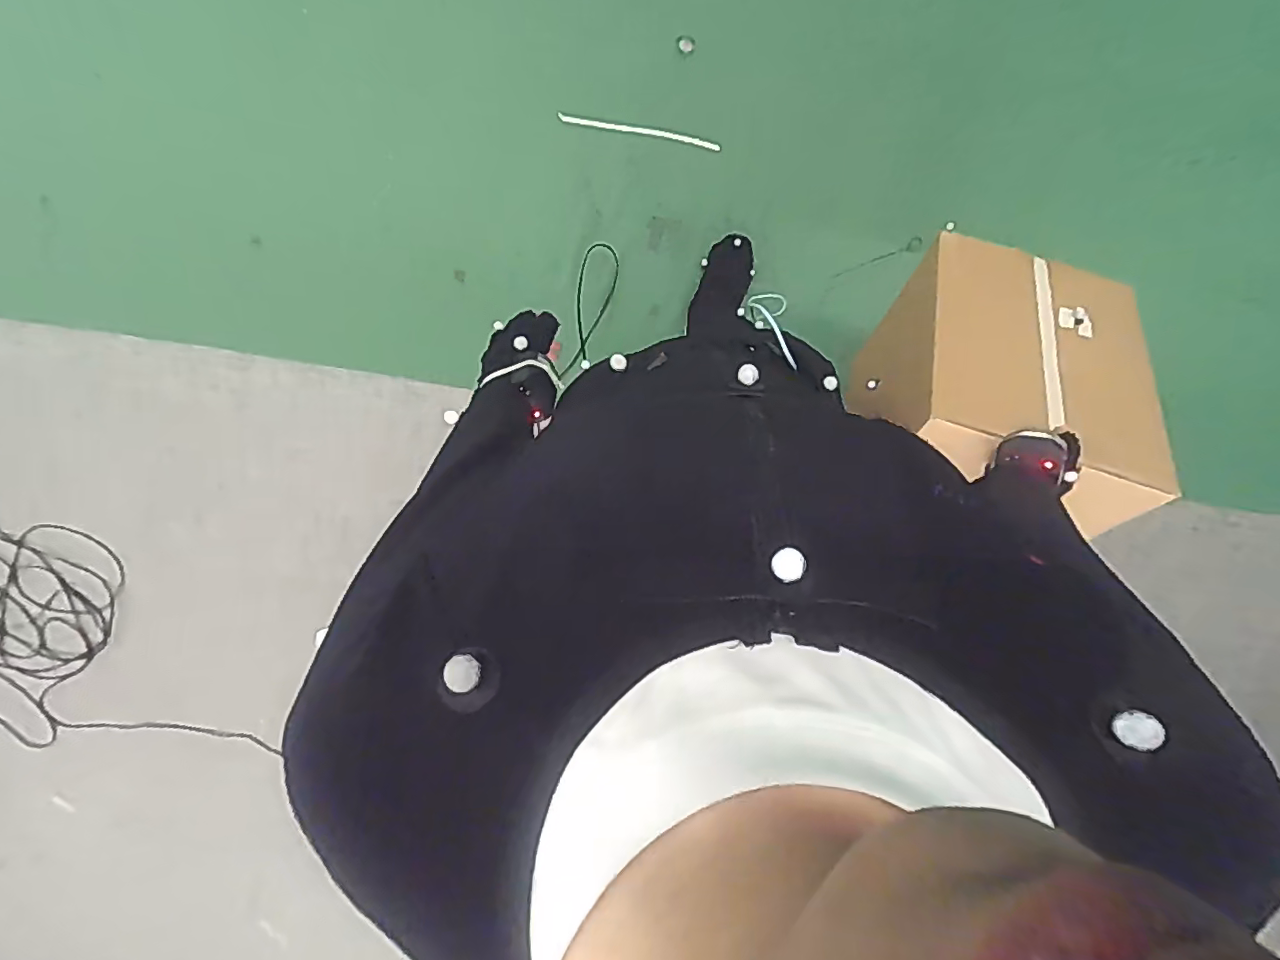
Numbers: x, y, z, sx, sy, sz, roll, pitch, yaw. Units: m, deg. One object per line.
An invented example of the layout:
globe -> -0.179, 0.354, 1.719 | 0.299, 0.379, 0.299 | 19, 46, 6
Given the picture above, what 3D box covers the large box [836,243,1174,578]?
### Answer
large box -> 0.549, -0.107, 0.897 | 0.320, 0.408, 0.320 | 19, 149, 3
